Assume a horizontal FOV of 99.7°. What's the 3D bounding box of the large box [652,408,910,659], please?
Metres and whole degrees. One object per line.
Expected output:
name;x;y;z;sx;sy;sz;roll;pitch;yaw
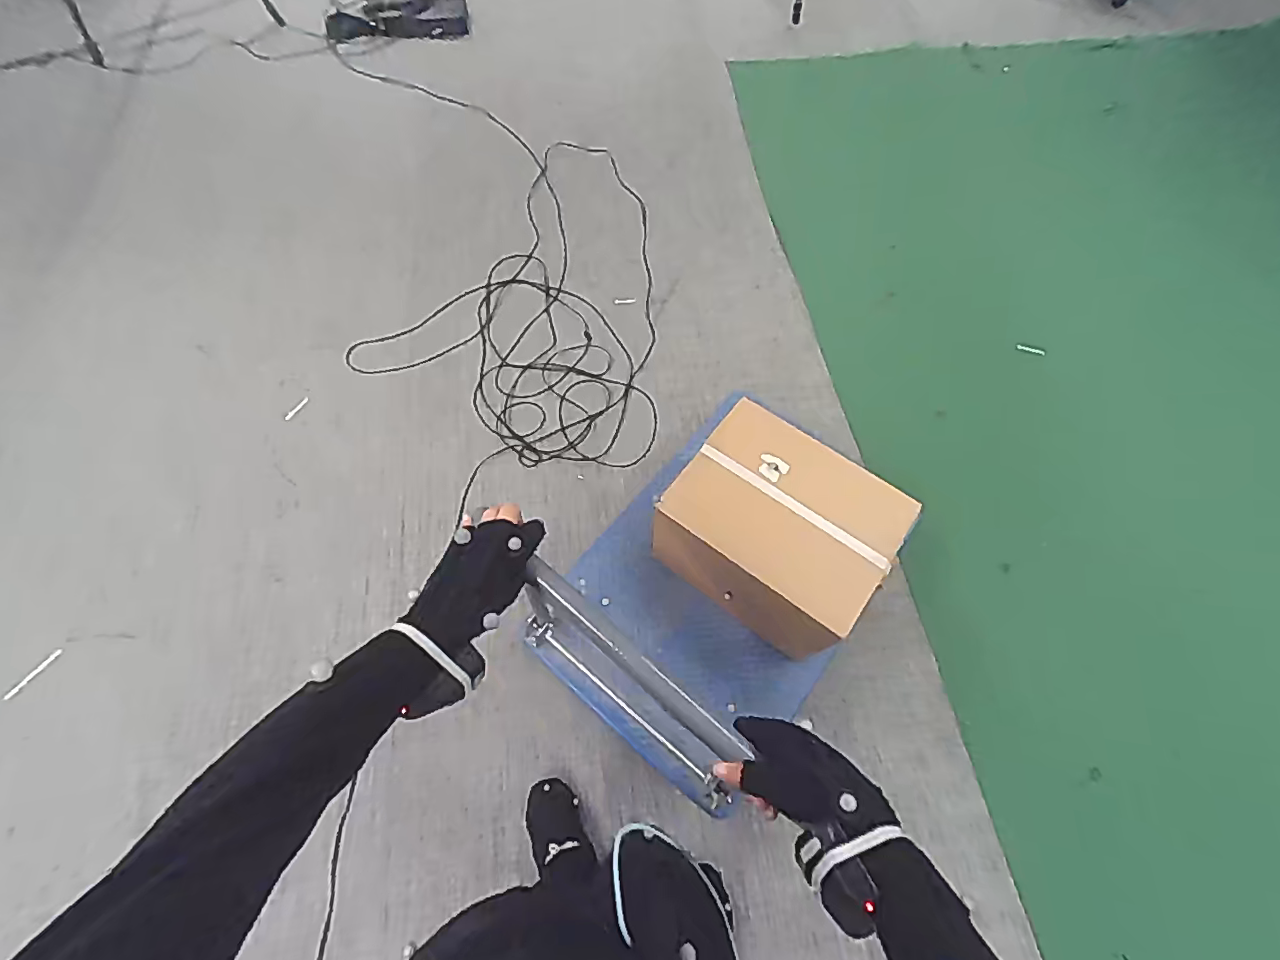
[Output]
large box;0.274;0.125;1.166;0.408;0.320;0.320;34;68;16
